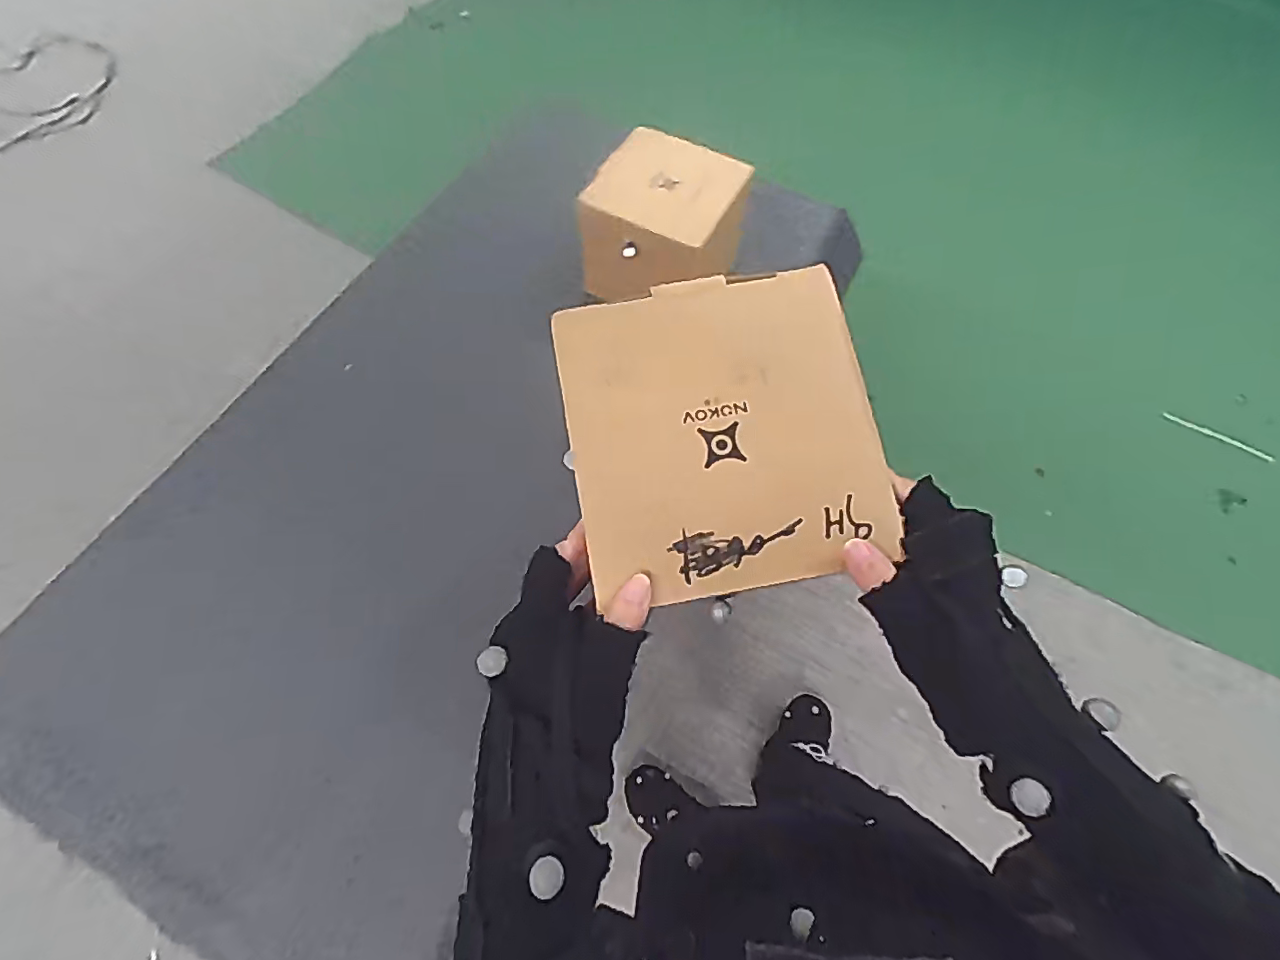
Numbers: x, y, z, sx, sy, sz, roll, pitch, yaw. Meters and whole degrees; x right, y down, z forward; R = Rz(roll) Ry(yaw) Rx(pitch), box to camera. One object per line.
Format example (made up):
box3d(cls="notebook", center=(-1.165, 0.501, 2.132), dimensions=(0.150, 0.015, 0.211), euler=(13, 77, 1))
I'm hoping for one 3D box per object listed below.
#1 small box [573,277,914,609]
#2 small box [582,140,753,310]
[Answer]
box3d(cls="small box", center=(0.054, -0.008, 0.379), dimensions=(0.168, 0.176, 0.179), euler=(-10, 78, 1))
box3d(cls="small box", center=(0.037, -0.337, 0.776), dimensions=(0.179, 0.176, 0.168), euler=(26, 69, 10))
